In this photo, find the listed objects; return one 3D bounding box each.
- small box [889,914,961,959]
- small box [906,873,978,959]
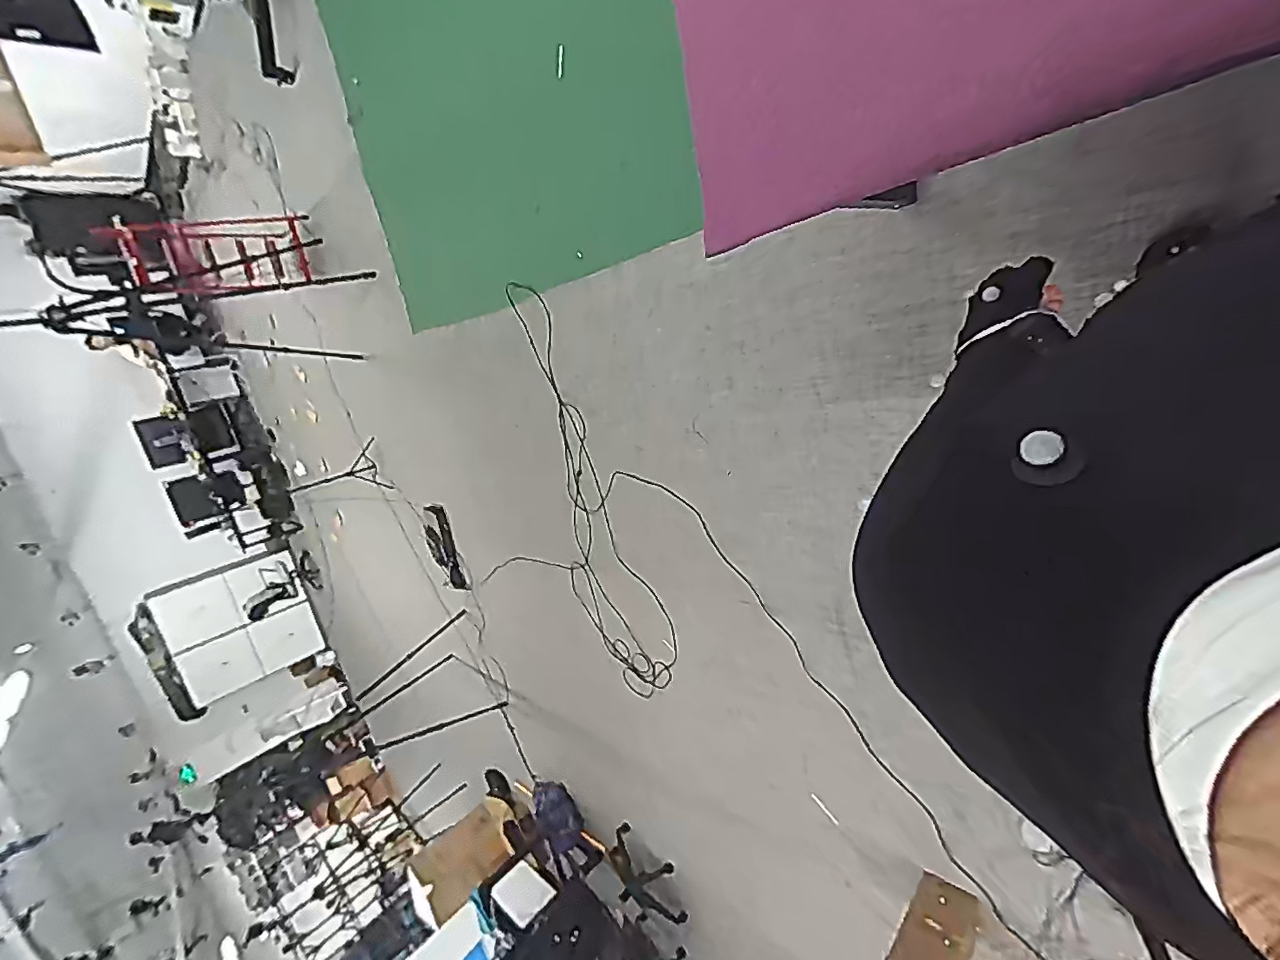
[{"bbox_3d":[0.903,1.544,1.715,0.168,0.176,0.179,6,113,45],"label":"small box"},{"bbox_3d":[1.020,1.488,1.820,0.168,0.176,0.179,2,109,49],"label":"small box"}]
